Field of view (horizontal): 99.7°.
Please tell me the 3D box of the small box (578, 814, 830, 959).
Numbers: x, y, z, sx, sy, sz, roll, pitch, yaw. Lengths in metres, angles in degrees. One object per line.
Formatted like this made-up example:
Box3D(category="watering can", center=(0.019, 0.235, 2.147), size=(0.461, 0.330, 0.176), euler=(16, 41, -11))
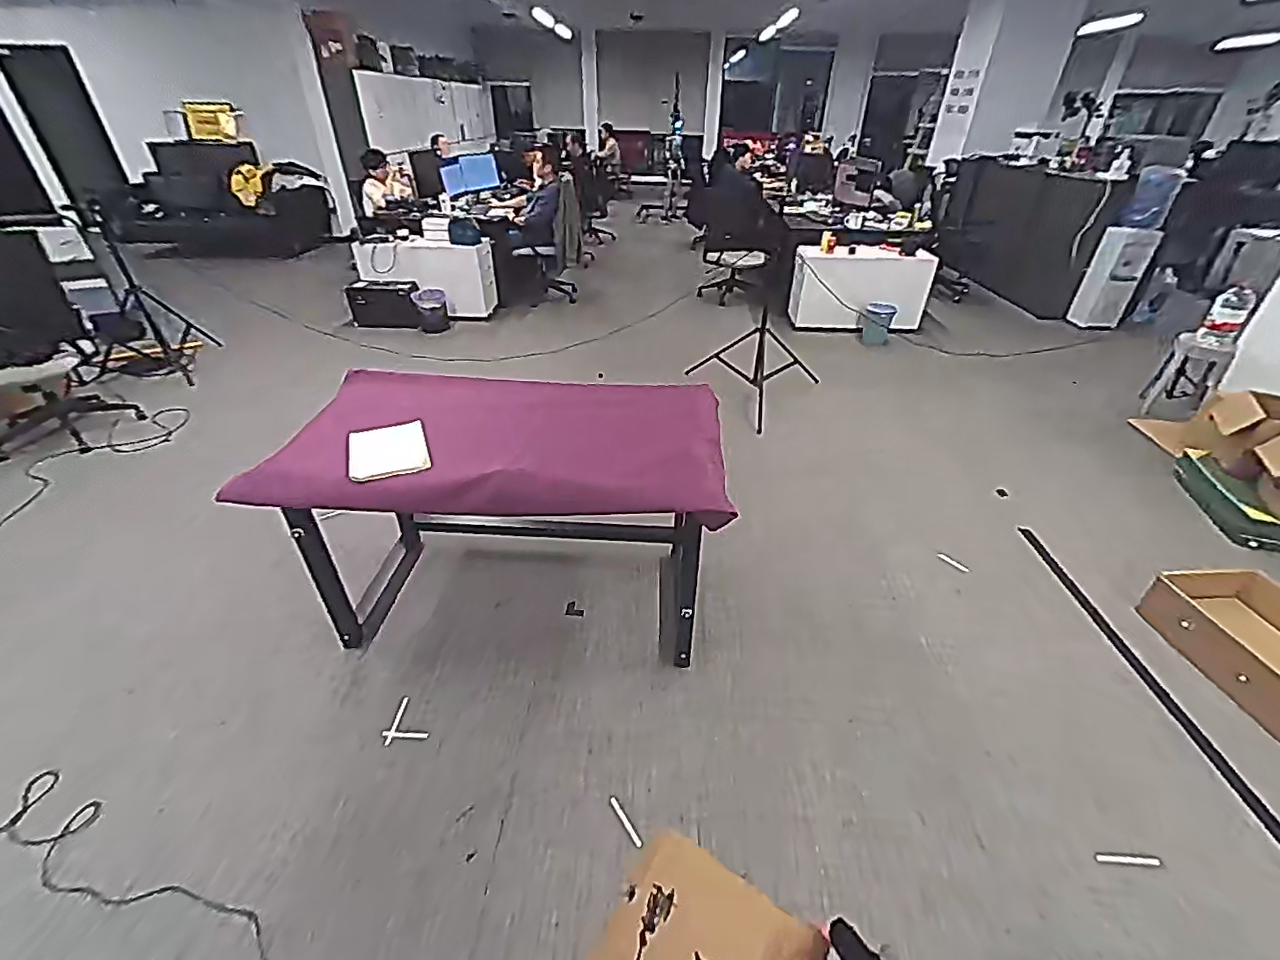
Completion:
Box3D(category="small box", center=(0.052, 0.466, 0.539), size=(0.179, 0.176, 0.168), euler=(30, 58, 14))
